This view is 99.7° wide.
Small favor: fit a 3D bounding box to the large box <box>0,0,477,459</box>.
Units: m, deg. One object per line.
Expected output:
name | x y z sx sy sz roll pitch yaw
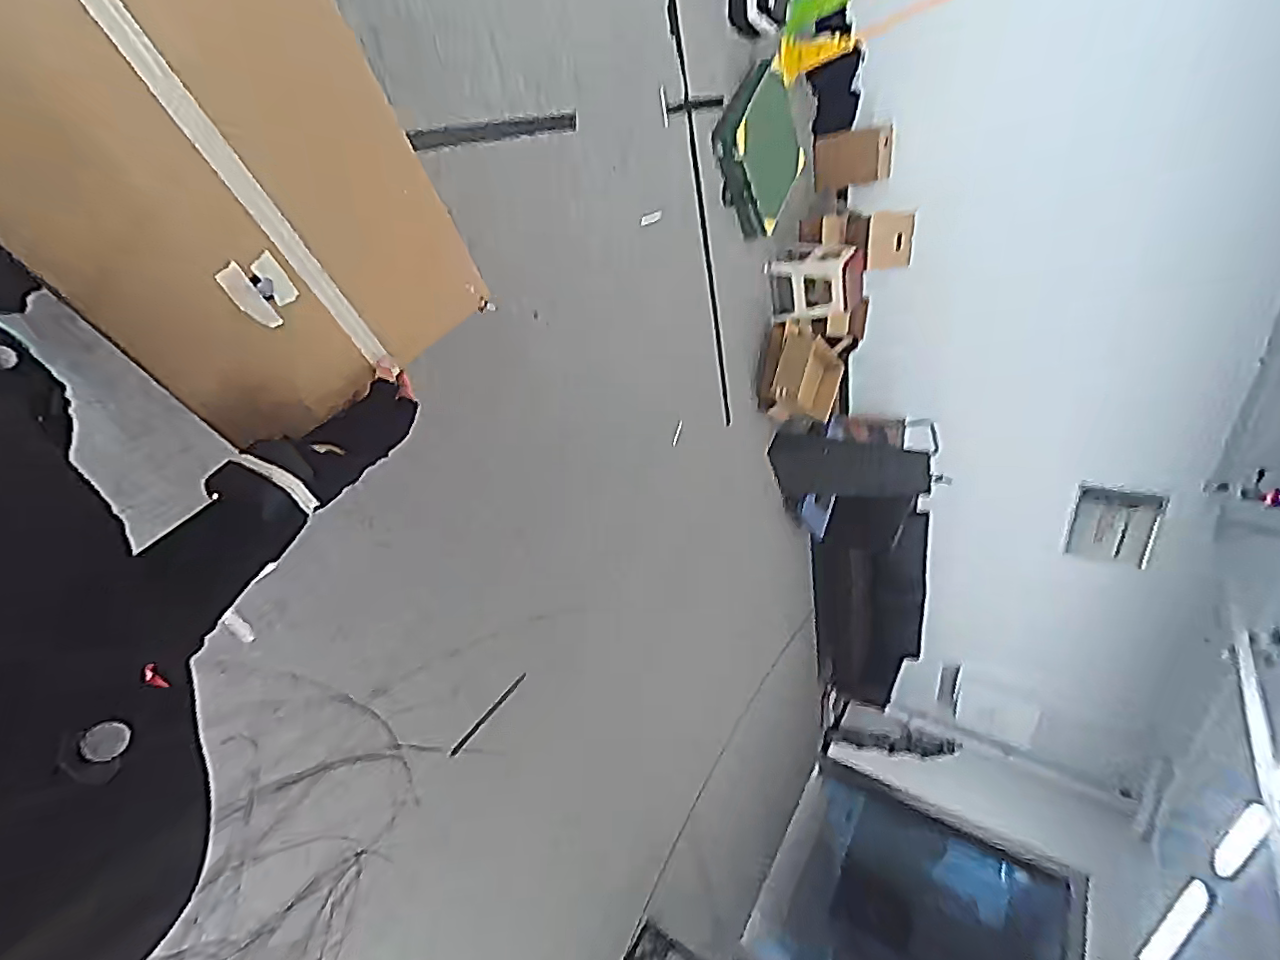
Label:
large box | -0.457 -0.297 0.550 0.320 0.320 0.408 -48 141 -23
